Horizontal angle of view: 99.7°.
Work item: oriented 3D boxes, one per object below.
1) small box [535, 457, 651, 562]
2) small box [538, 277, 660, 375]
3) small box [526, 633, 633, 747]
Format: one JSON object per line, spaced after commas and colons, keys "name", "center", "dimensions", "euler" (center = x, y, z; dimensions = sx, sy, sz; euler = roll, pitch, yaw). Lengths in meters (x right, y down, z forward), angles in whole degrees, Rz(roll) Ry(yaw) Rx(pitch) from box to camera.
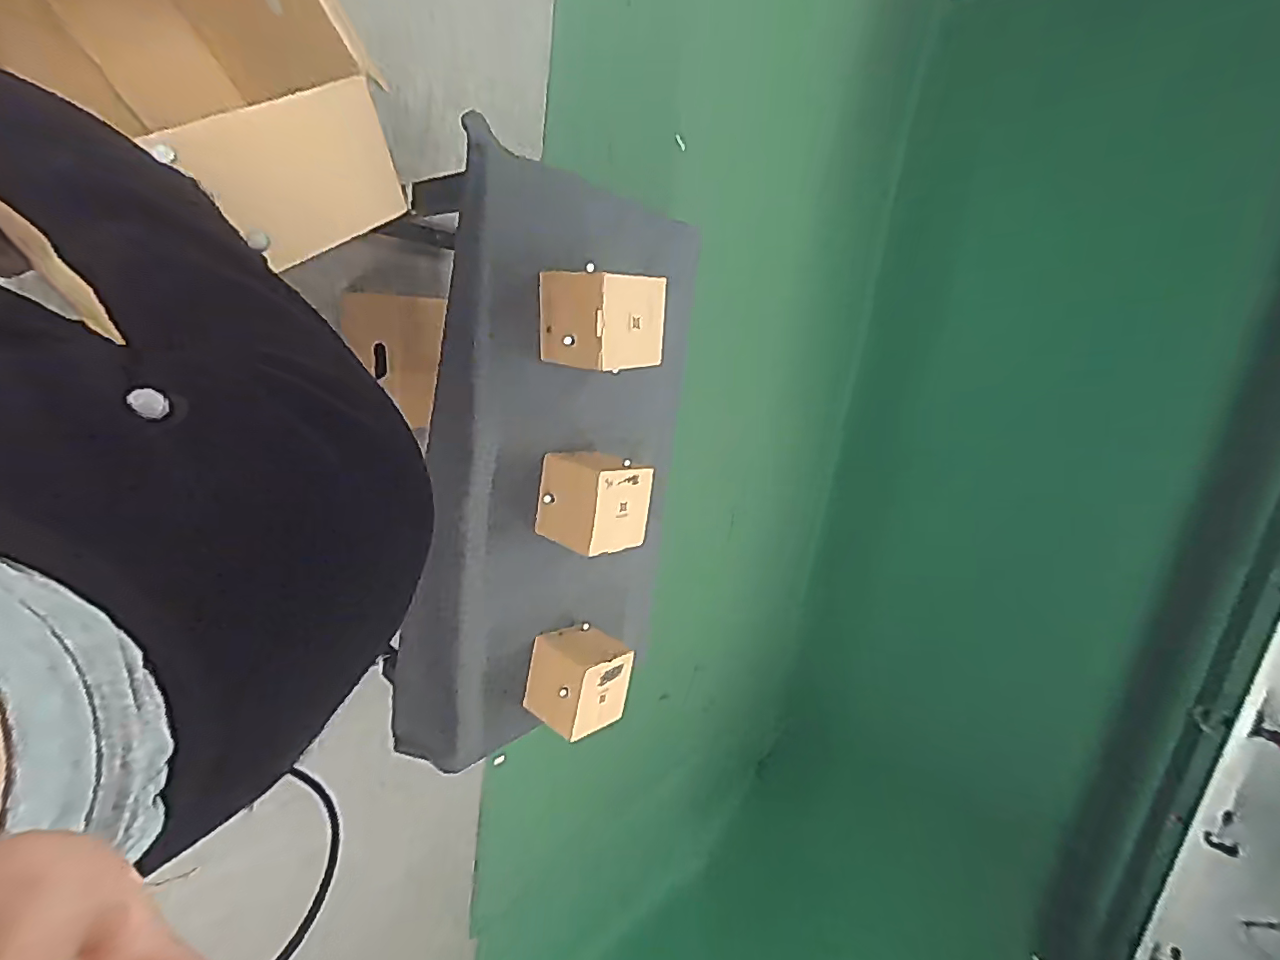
{"name": "small box", "center": [-0.103, 0.054, 1.146], "dimensions": [0.168, 0.176, 0.179], "euler": [-5, 108, -50]}
{"name": "small box", "center": [-0.081, -0.299, 1.041], "dimensions": [0.179, 0.176, 0.168], "euler": [-21, 121, -48]}
{"name": "small box", "center": [-0.142, 0.471, 1.251], "dimensions": [0.168, 0.176, 0.179], "euler": [2, 103, -51]}
